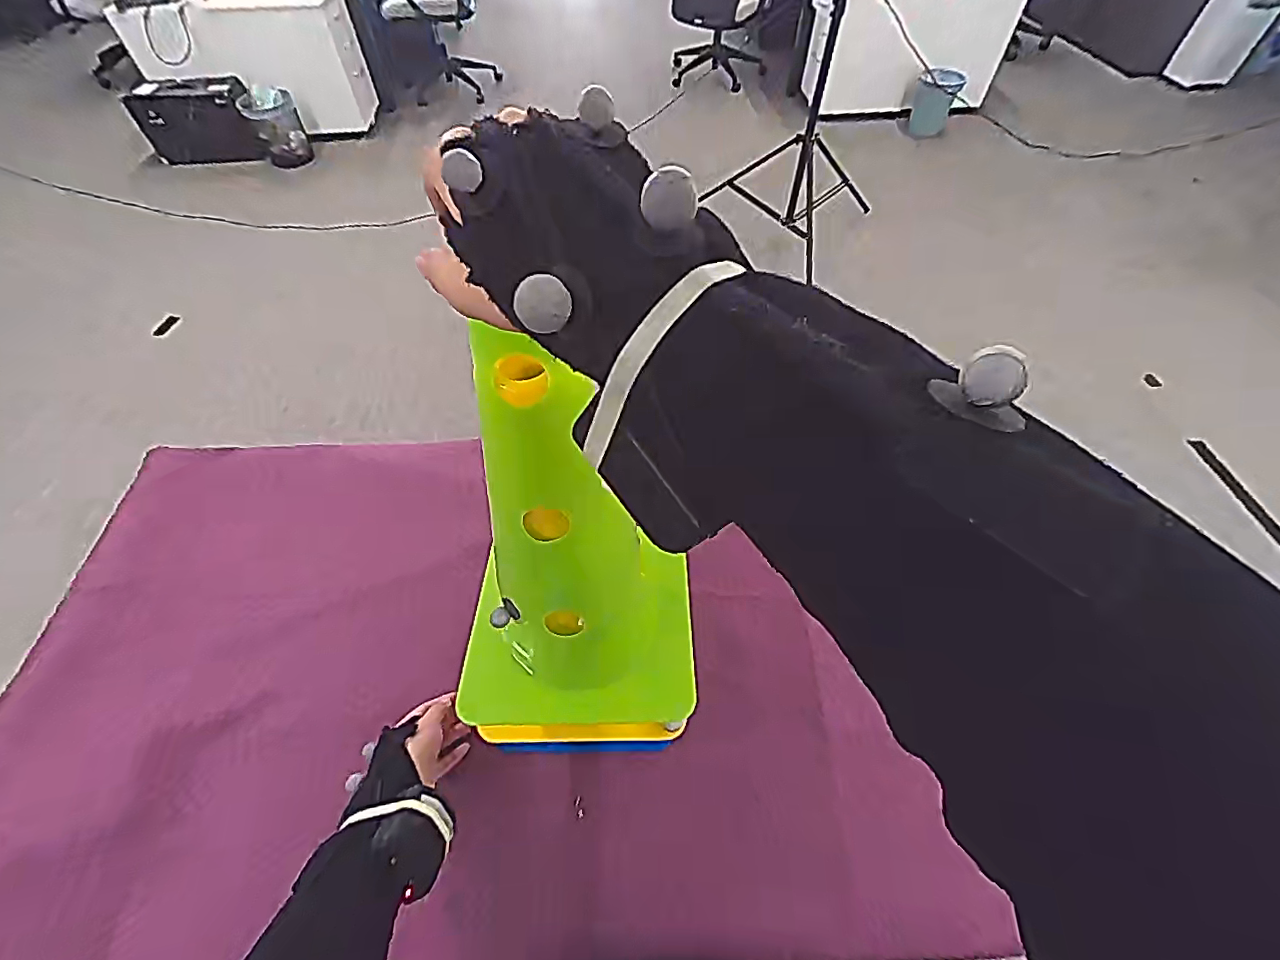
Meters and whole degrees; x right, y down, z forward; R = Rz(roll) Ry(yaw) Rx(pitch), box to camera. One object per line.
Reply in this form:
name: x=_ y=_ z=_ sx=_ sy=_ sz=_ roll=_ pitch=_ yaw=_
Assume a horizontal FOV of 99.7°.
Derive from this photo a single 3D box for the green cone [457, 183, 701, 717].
green cone: x=-0.057 y=-0.003 z=0.370 sx=0.200 sy=0.368 sz=0.202 roll=-2 pitch=48 yaw=1
